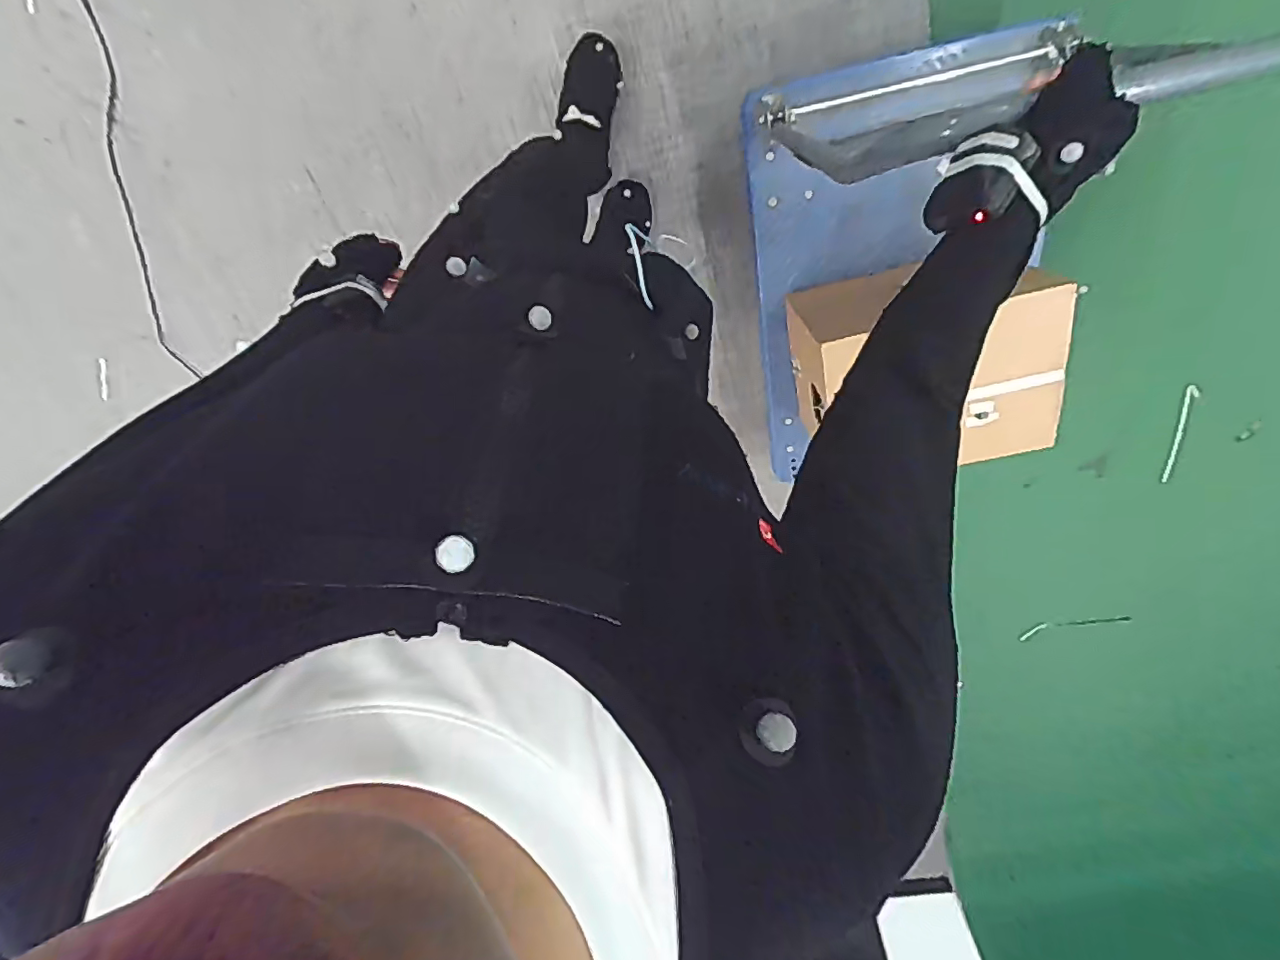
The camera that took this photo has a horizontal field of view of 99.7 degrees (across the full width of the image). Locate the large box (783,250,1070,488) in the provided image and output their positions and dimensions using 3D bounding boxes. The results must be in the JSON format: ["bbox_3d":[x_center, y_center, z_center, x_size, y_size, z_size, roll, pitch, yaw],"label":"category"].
[{"bbox_3d":[0.536,-0.230,1.091,0.408,0.320,0.320,-13,123,9],"label":"large box"}]
